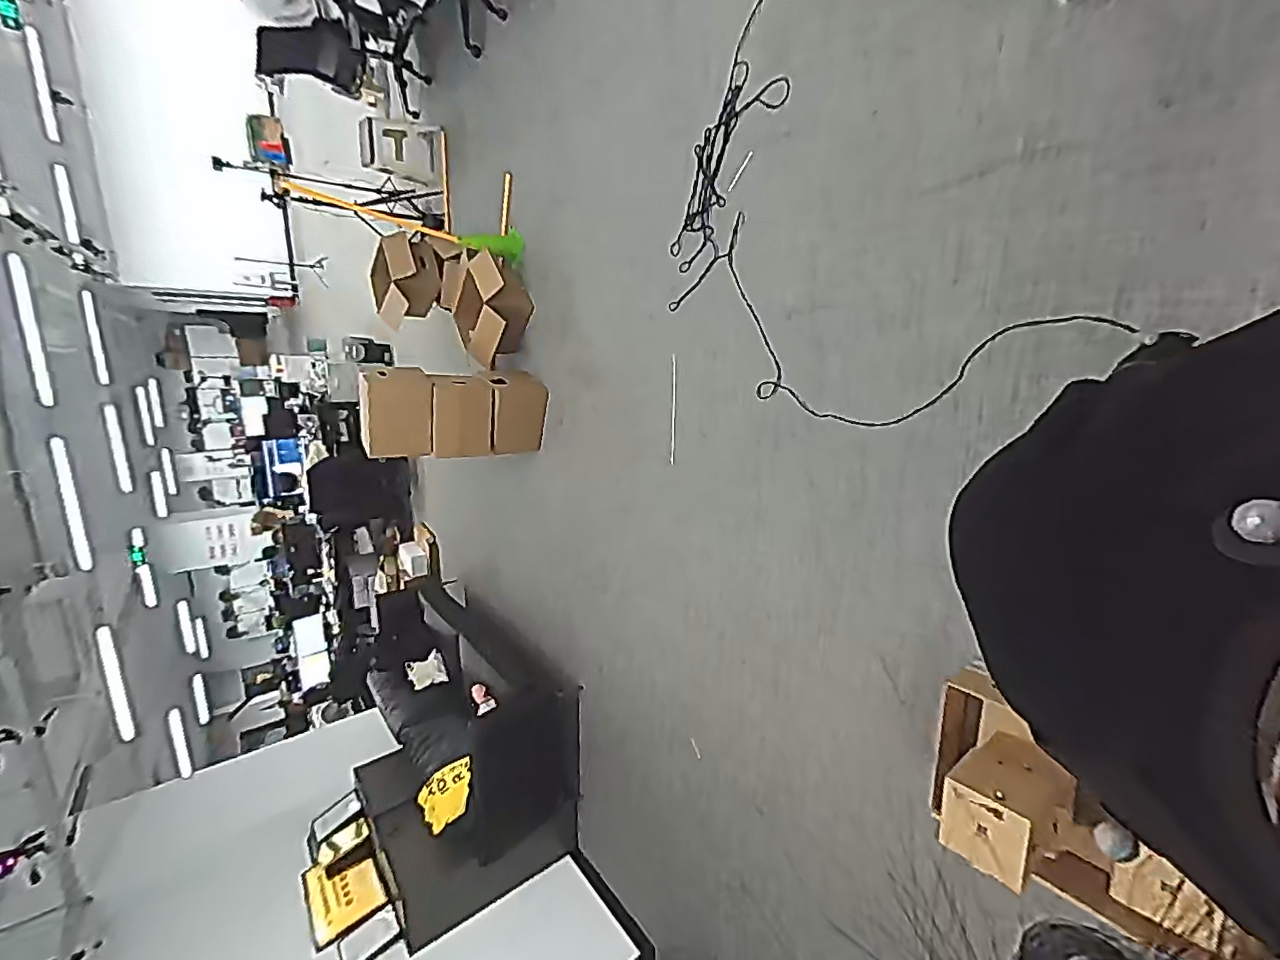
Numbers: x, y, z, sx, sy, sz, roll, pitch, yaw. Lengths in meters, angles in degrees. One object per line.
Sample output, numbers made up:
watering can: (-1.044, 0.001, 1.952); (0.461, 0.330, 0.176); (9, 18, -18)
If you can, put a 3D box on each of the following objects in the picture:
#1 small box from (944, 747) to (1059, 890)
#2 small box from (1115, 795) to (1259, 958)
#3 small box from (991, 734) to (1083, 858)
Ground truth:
small box: (0.806, 0.742, 1.206); (0.168, 0.176, 0.179); (13, 107, 50)
small box: (1.105, 0.782, 1.092); (0.179, 0.176, 0.168); (10, 104, 53)
small box: (0.939, 0.747, 1.304); (0.179, 0.176, 0.168); (6, 101, 52)
